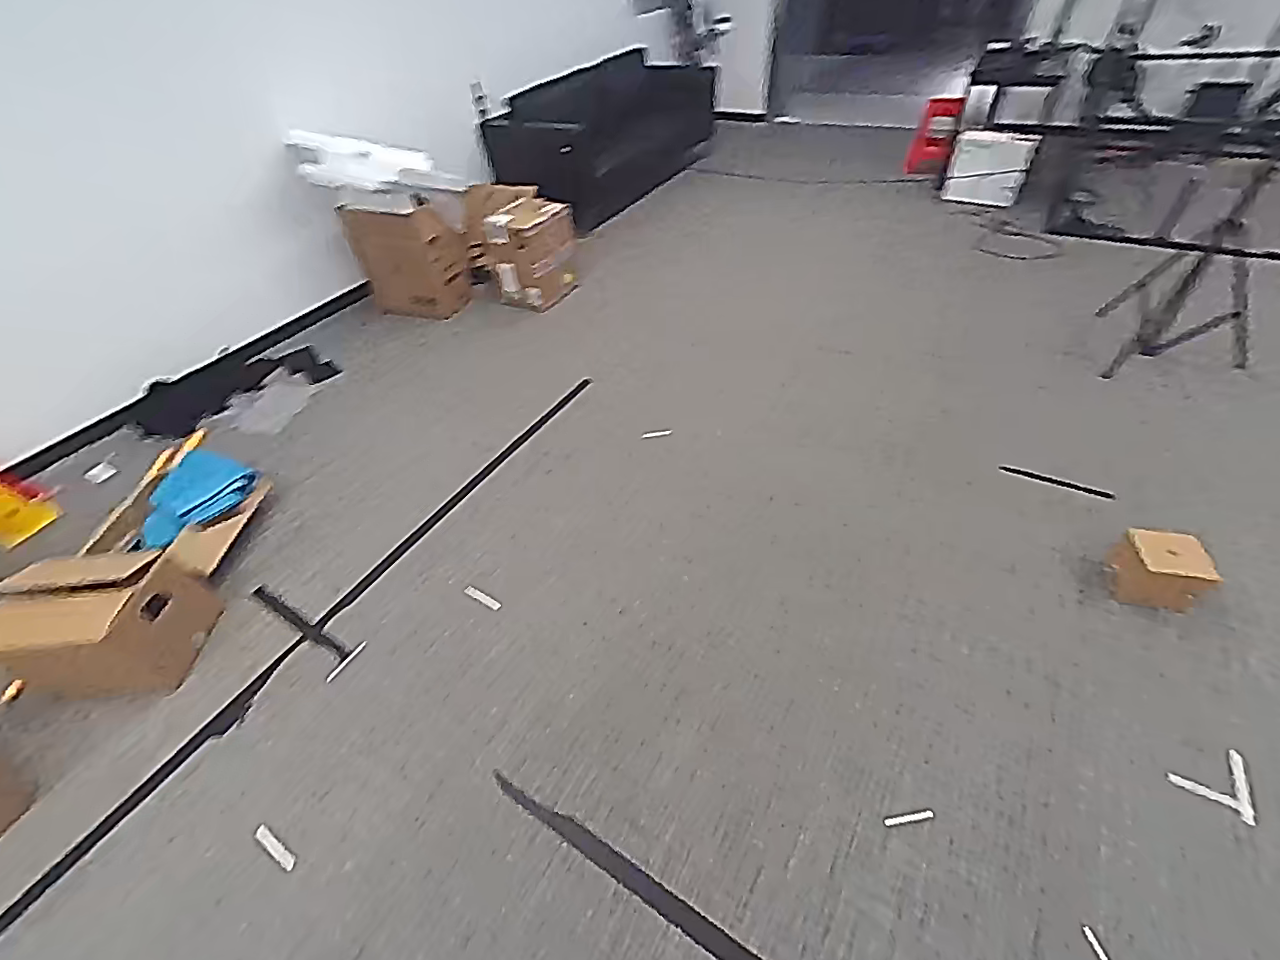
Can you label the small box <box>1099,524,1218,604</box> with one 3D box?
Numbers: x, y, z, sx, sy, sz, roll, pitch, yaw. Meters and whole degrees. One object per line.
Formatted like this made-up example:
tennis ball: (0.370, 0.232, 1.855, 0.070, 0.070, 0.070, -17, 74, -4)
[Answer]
small box: (1.549, 0.256, 1.629, 0.179, 0.176, 0.168, 5, 45, 12)
